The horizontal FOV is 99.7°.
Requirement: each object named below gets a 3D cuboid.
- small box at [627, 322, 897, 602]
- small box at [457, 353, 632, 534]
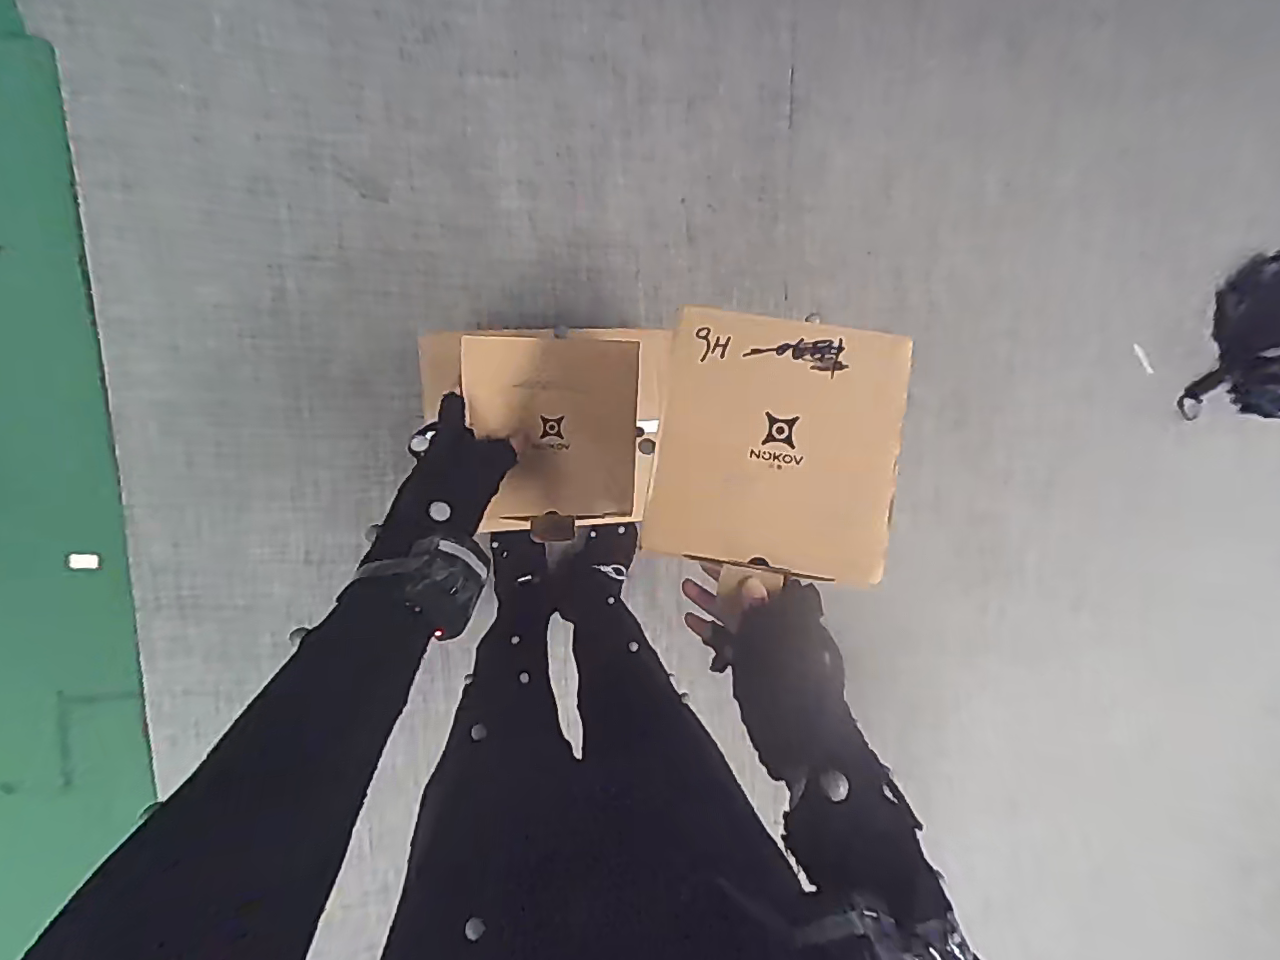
[{"bbox_3d":[0.088,-0.011,0.453,0.168,0.176,0.179,8,88,2],"label":"small box"},{"bbox_3d":[-0.104,-0.049,0.602,0.168,0.176,0.179,-2,102,-11],"label":"small box"}]
